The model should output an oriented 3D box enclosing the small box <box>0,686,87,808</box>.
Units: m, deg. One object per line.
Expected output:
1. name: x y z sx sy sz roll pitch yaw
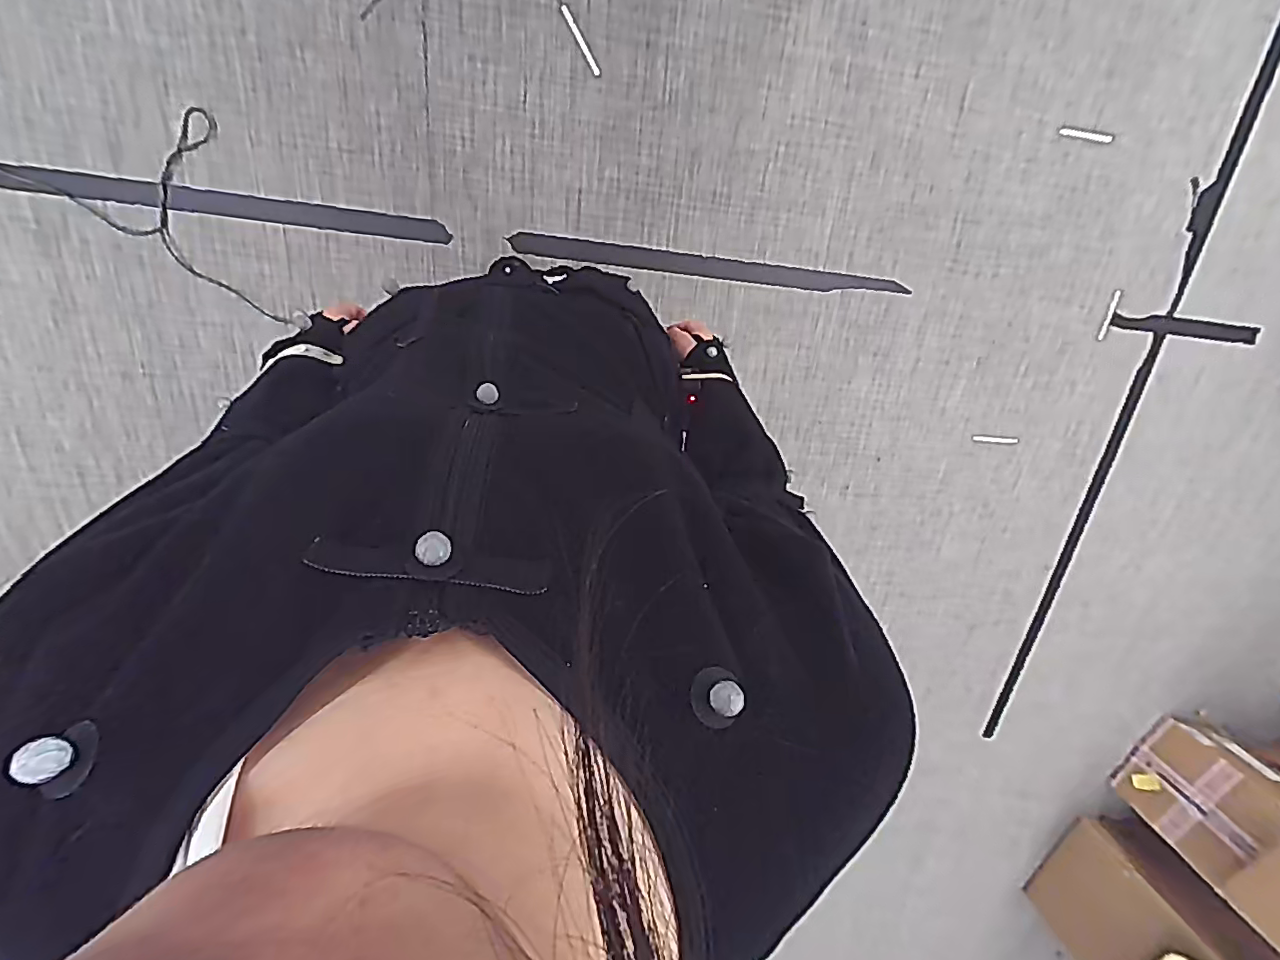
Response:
1. small box: -1.395 0.591 1.178 0.168 0.176 0.179 -35 110 5
